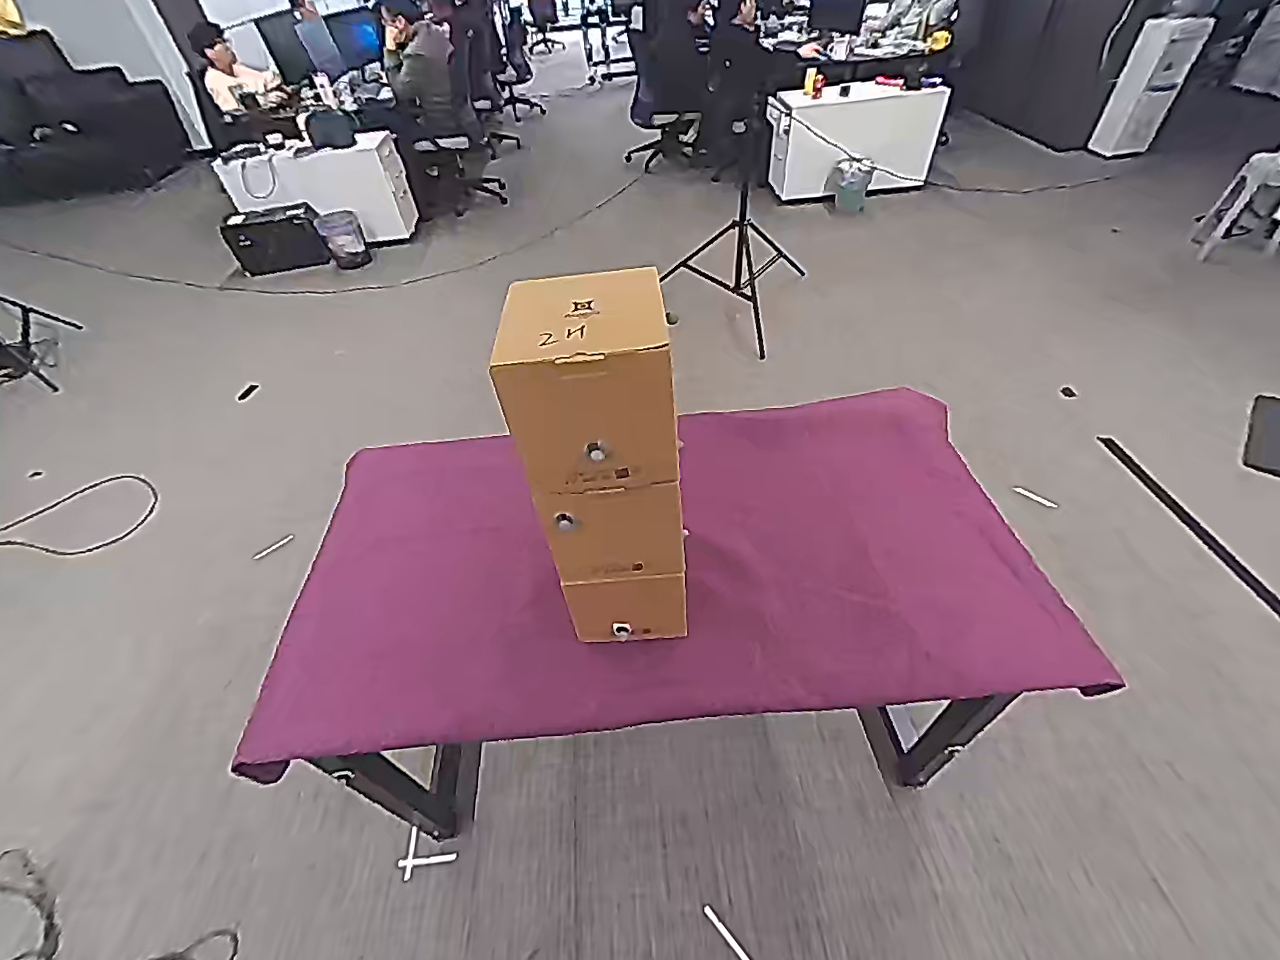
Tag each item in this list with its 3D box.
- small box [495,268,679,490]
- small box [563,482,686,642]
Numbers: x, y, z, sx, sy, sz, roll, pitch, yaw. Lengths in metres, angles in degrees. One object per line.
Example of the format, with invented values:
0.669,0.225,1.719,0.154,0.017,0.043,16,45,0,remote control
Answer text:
-0.048,-0.112,0.599,0.168,0.176,0.179,-6,44,2,small box
-0.018,0.126,0.826,0.168,0.176,0.179,-5,46,2,small box
